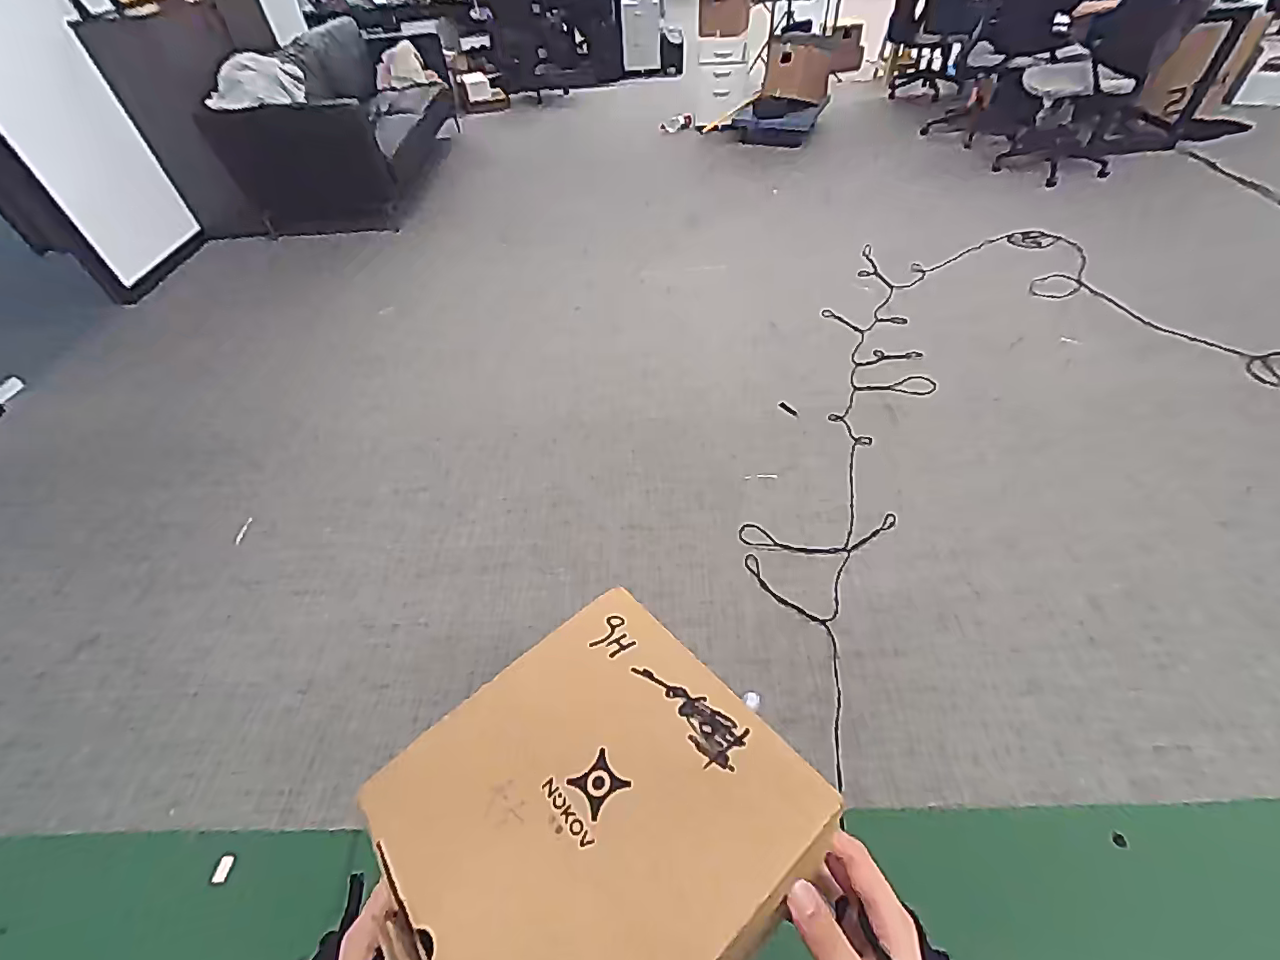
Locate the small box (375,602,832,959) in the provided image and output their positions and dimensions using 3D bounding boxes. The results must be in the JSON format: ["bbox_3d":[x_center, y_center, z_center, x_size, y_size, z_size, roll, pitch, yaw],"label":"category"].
[{"bbox_3d":[-0.011,0.217,0.319,0.179,0.176,0.168,-35,49,-23],"label":"small box"}]
